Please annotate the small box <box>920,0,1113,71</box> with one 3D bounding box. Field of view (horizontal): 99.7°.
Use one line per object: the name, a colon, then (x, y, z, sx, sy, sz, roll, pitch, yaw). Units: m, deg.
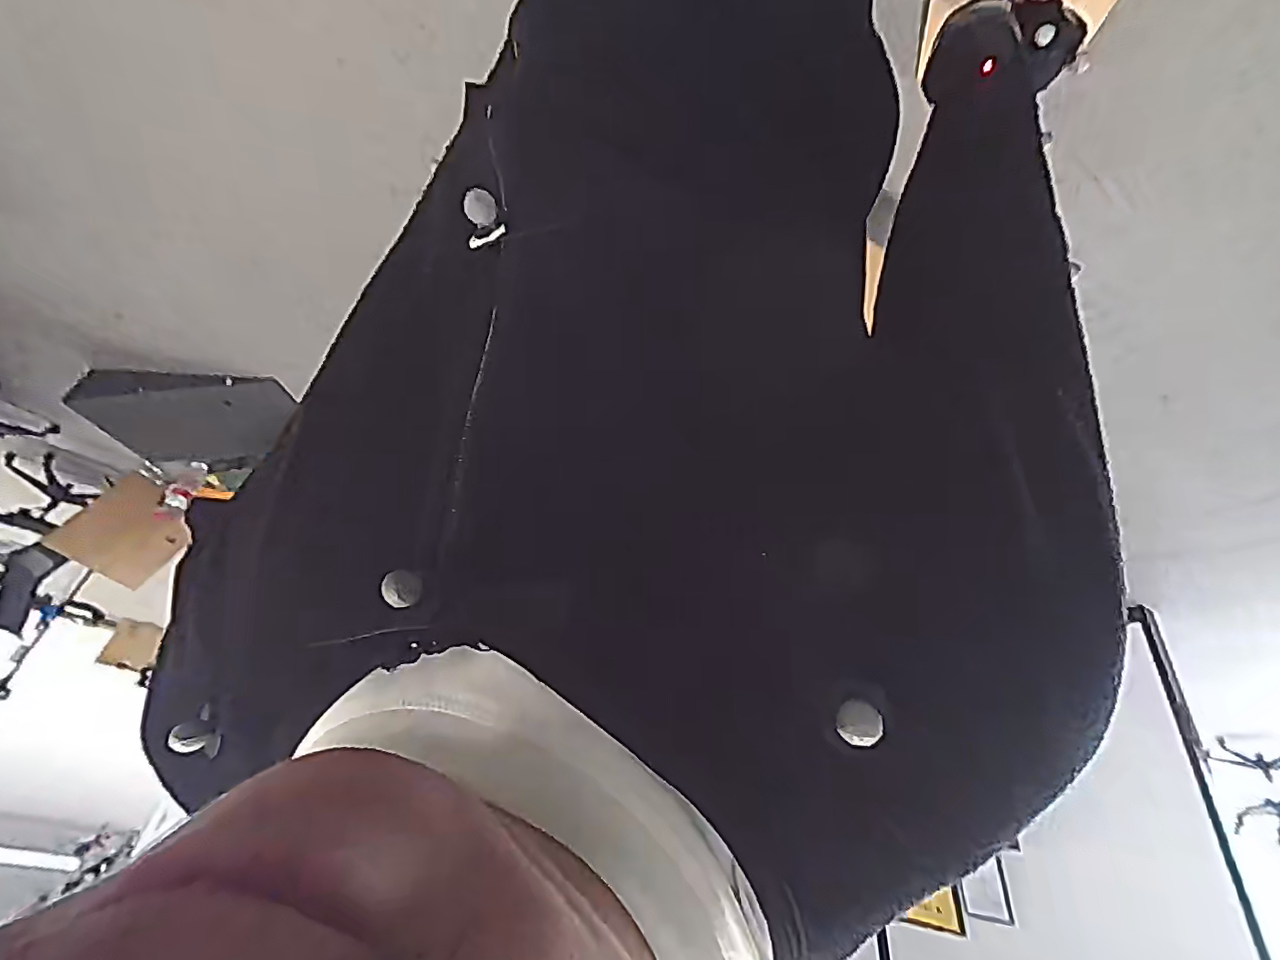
small box: (0.378, -0.538, 0.527, 0.168, 0.176, 0.179, 6, 102, 21)
